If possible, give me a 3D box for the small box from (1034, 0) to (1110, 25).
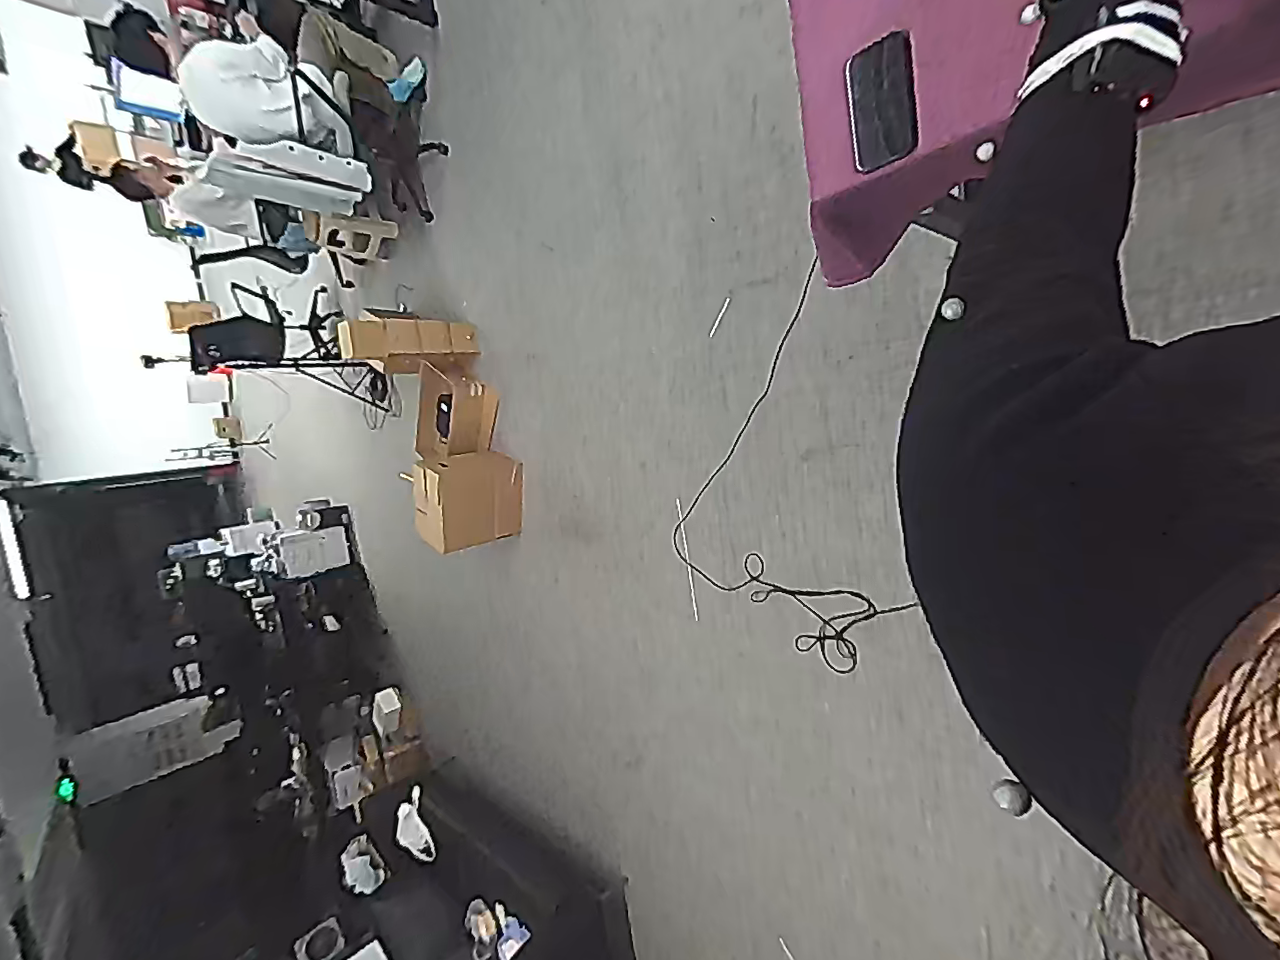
[{"bbox_3d":[0.439,-0.570,0.479,0.168,0.176,0.179,2,101,46],"label":"small box"}]
